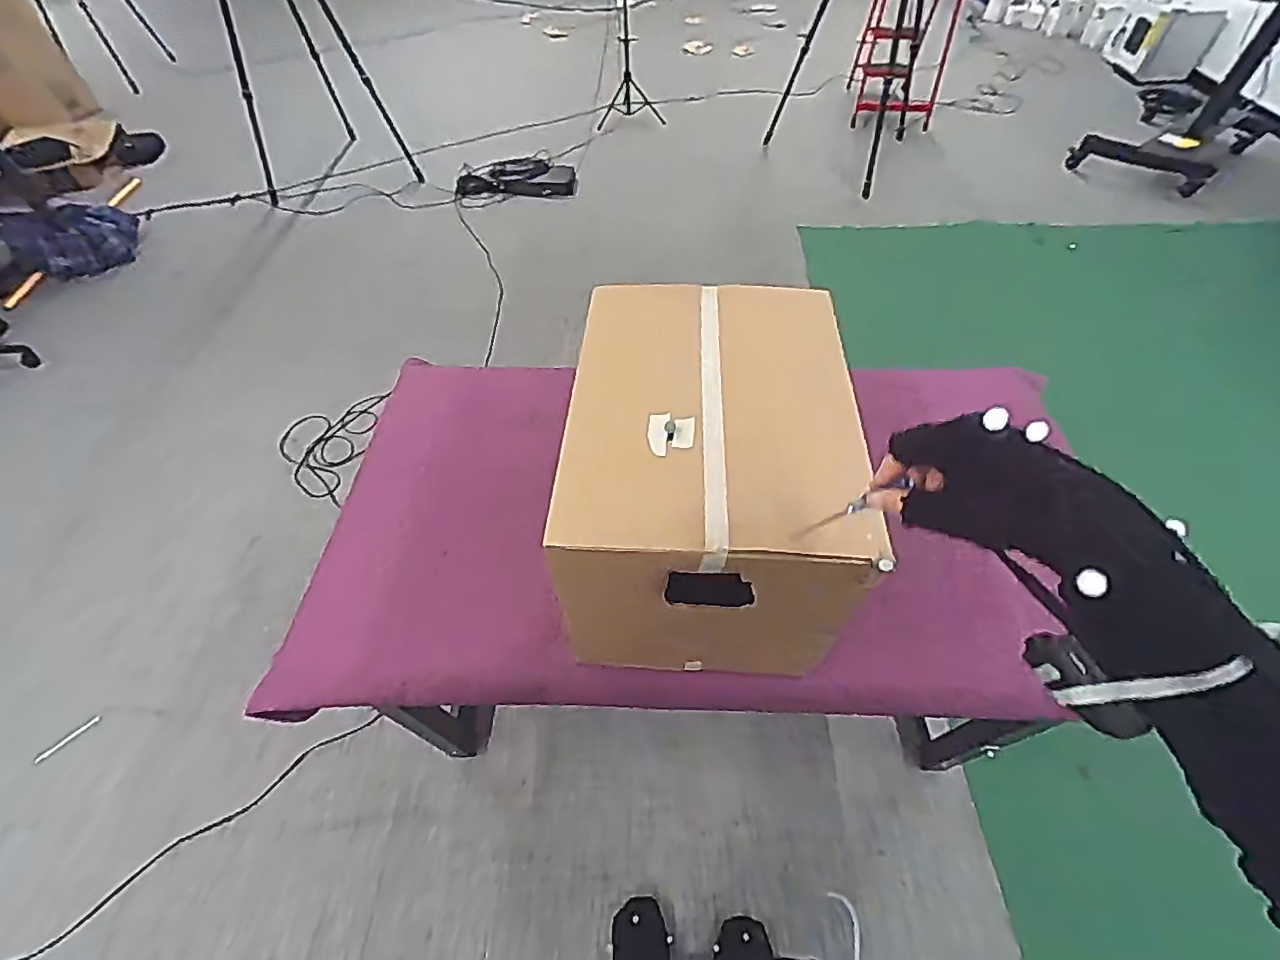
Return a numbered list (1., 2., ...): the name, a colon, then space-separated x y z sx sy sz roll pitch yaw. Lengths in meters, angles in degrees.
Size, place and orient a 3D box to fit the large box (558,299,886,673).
1. large box: 0.084 0.008 0.735 0.320 0.320 0.408 2 53 3
